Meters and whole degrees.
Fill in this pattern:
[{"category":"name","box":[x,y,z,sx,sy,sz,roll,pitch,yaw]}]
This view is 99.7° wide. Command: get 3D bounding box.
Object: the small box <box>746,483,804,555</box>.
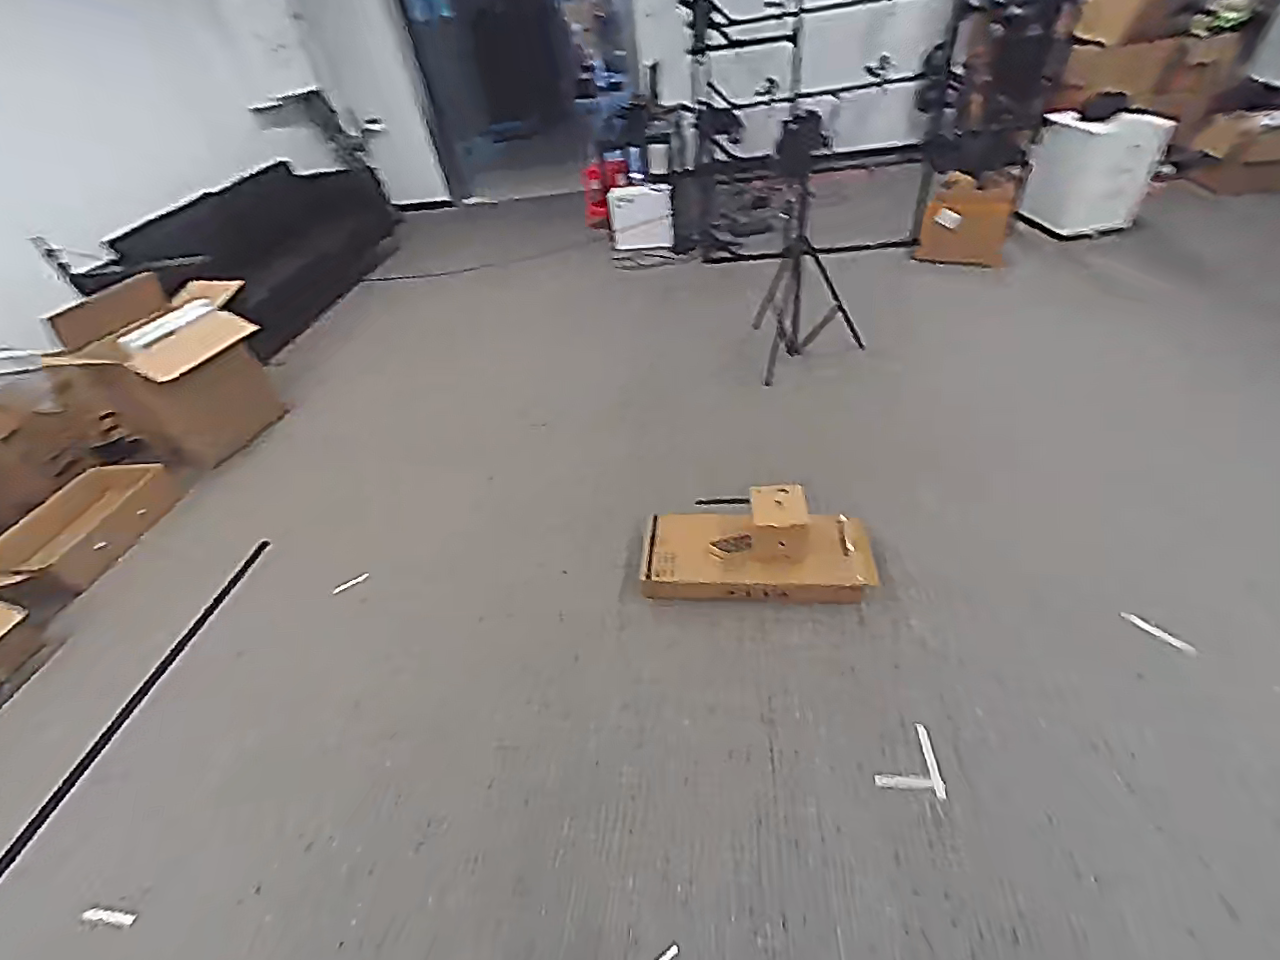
[{"category":"small box","box":[0.434,0.131,1.755,0.168,0.176,0.179,-3,42,8]}]
